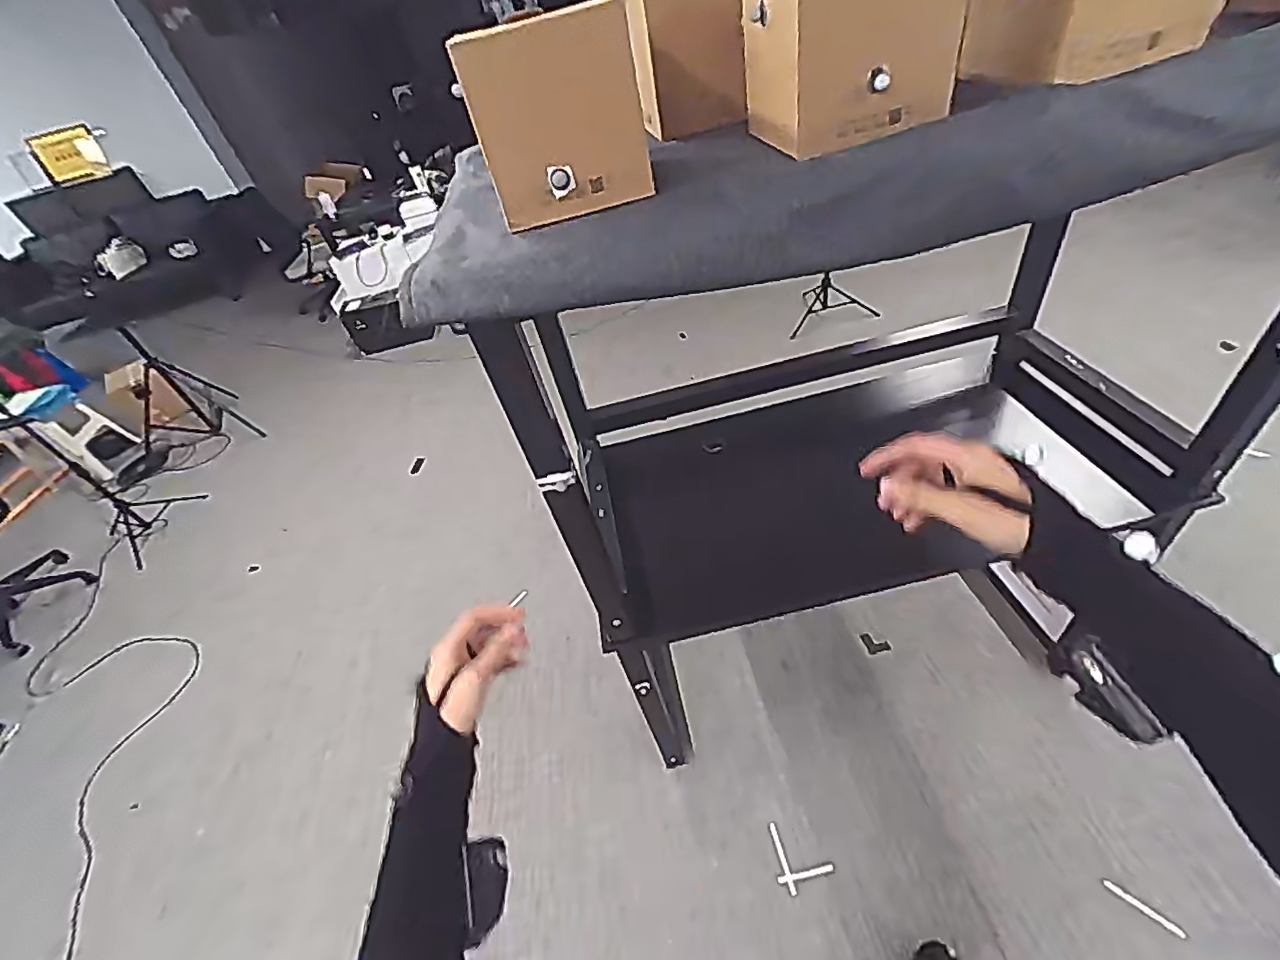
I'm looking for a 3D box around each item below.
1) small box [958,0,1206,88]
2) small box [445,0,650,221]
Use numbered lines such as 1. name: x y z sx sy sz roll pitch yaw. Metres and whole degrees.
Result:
1. small box: 0.484 -0.549 0.589 0.168 0.176 0.179 -14 40 1
2. small box: -0.096 -0.405 0.595 0.168 0.176 0.179 -17 41 -2
